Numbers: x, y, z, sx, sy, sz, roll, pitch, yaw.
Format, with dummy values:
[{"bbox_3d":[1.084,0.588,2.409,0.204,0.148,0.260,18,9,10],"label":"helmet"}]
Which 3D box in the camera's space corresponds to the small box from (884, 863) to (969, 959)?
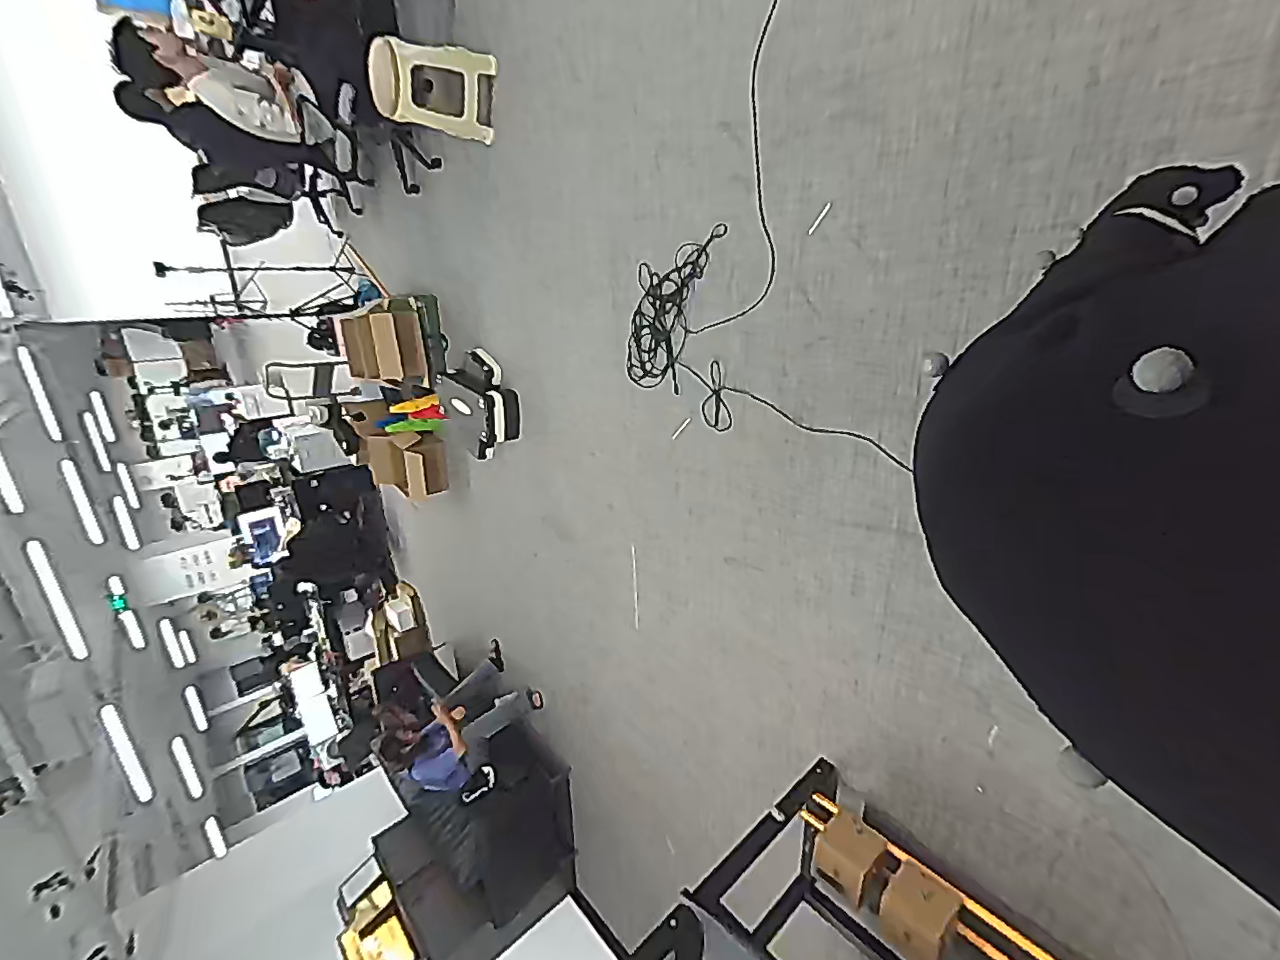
[{"bbox_3d":[0.854,1.302,1.608,0.168,0.176,0.179,18,117,46],"label":"small box"}]
